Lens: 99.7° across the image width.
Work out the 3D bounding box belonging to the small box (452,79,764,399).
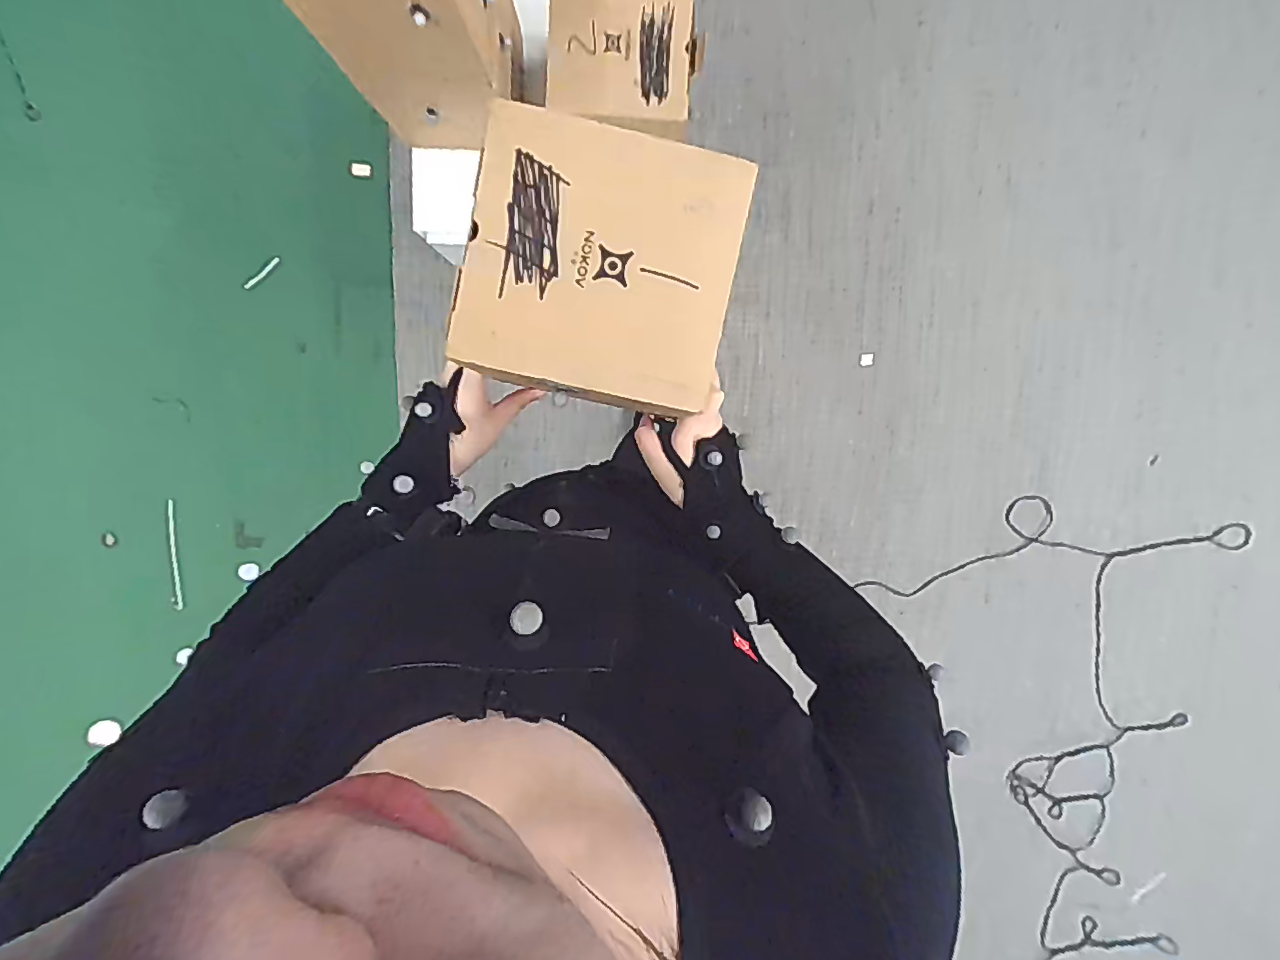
[{"bbox_3d":[-0.025,-0.163,0.429,0.179,0.176,0.168,12,95,-5],"label":"small box"}]

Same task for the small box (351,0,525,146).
[{"bbox_3d":[-0.259,-0.573,0.723,0.179,0.176,0.168,2,97,-1],"label":"small box"}]

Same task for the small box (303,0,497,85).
[{"bbox_3d":[-0.255,-0.549,0.561,0.179,0.176,0.168,3,97,-4],"label":"small box"}]
